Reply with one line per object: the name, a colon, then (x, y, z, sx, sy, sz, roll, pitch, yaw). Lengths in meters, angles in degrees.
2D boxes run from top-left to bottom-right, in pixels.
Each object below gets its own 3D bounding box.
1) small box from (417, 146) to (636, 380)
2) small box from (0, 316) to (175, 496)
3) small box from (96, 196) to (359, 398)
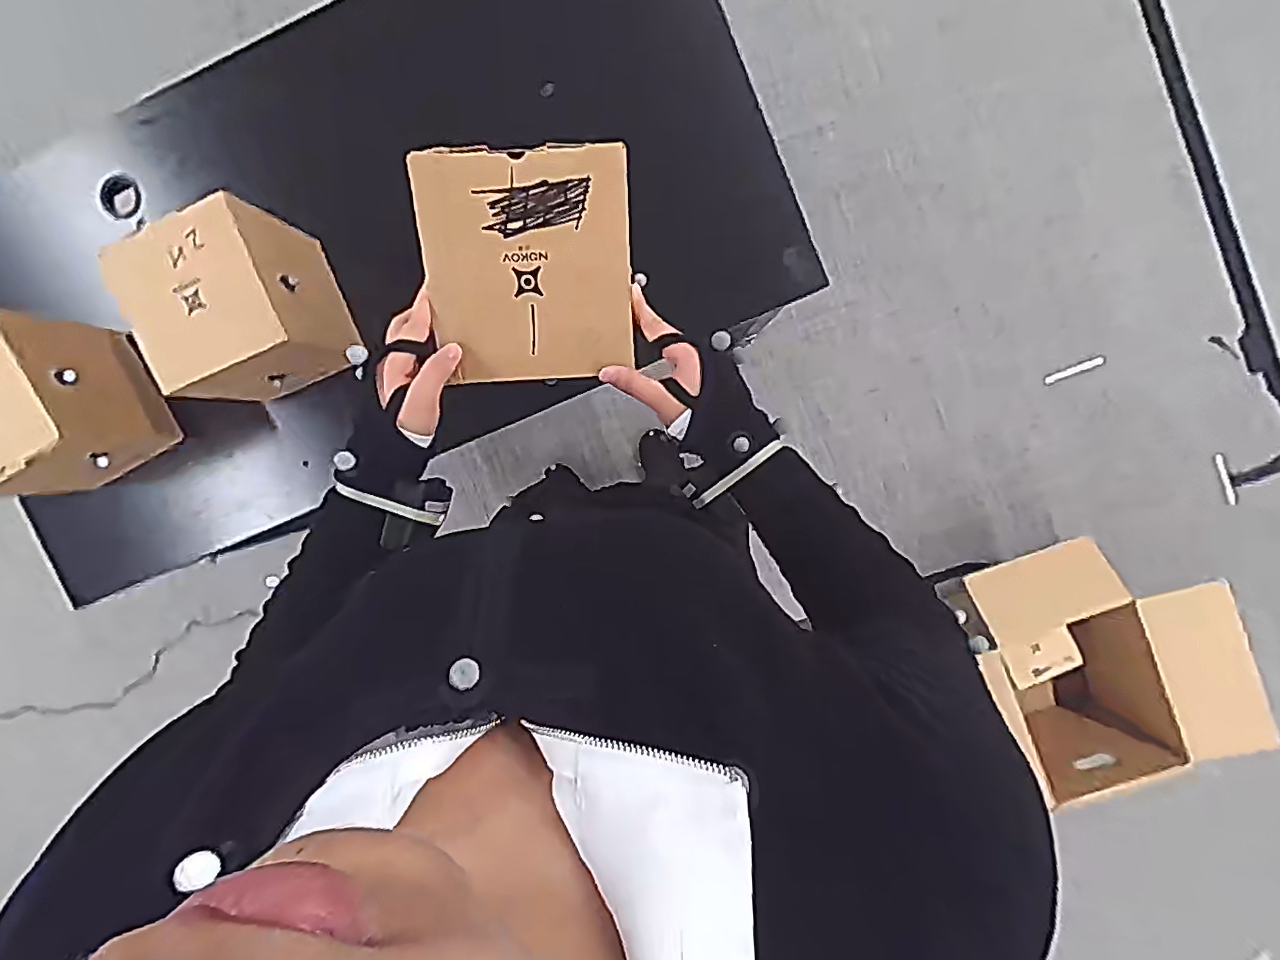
small box: (-0.090, -0.191, 0.509, 0.168, 0.176, 0.179, -2, 107, -1)
small box: (-0.777, -0.091, 0.706, 0.168, 0.176, 0.179, -28, 93, 4)
small box: (-0.494, -0.211, 0.679, 0.168, 0.176, 0.179, -22, 94, 4)
